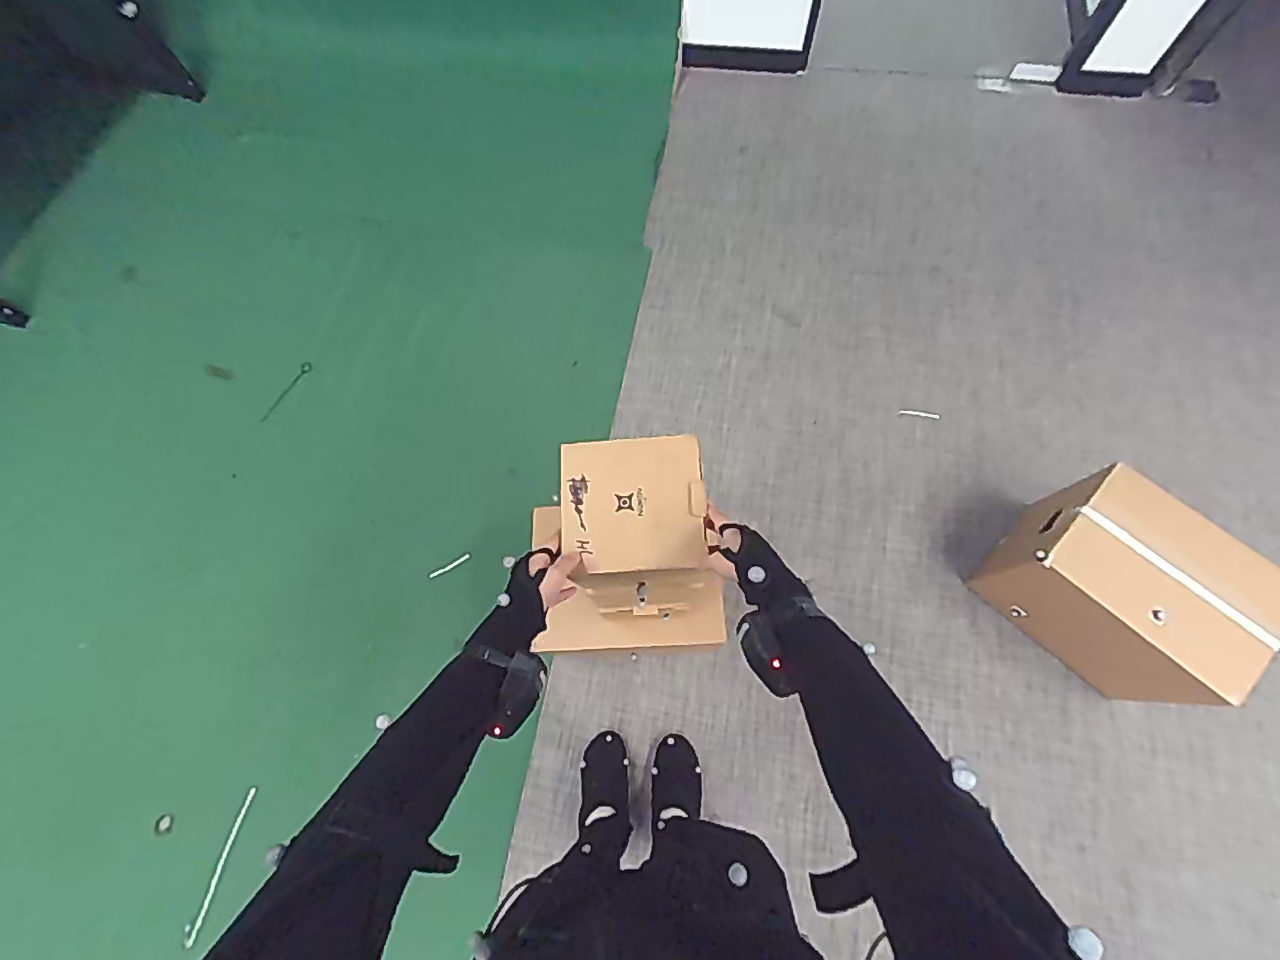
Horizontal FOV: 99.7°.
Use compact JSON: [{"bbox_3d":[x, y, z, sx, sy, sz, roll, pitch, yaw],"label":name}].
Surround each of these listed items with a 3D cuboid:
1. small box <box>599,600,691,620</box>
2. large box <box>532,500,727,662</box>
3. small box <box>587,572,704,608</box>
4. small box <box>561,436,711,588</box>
[{"bbox_3d":[0.011,0.177,1.049,0.168,0.176,0.179,-3,69,2],"label":"small box"},{"bbox_3d":[-0.019,0.254,1.283,0.408,0.320,0.320,-4,68,3],"label":"large box"},{"bbox_3d":[0.007,0.115,0.896,0.179,0.176,0.168,-4,69,1],"label":"small box"},{"bbox_3d":[-0.005,0.050,0.723,0.179,0.176,0.168,-3,71,2],"label":"small box"}]
